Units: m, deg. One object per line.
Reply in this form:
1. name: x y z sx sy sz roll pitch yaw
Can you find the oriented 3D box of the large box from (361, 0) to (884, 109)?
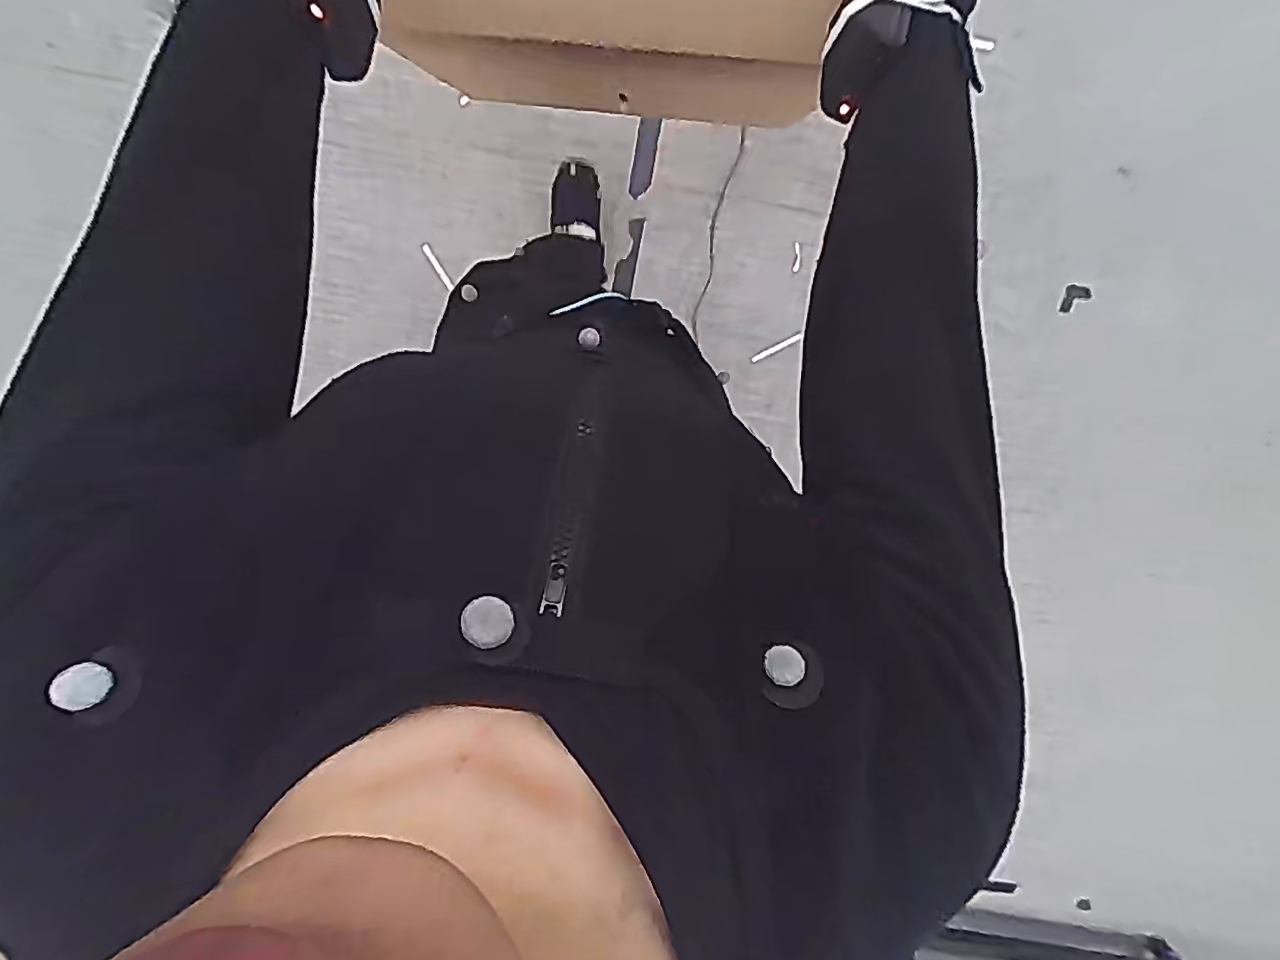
1. large box: -0.001 -0.547 0.482 0.408 0.320 0.320 5 116 -1
